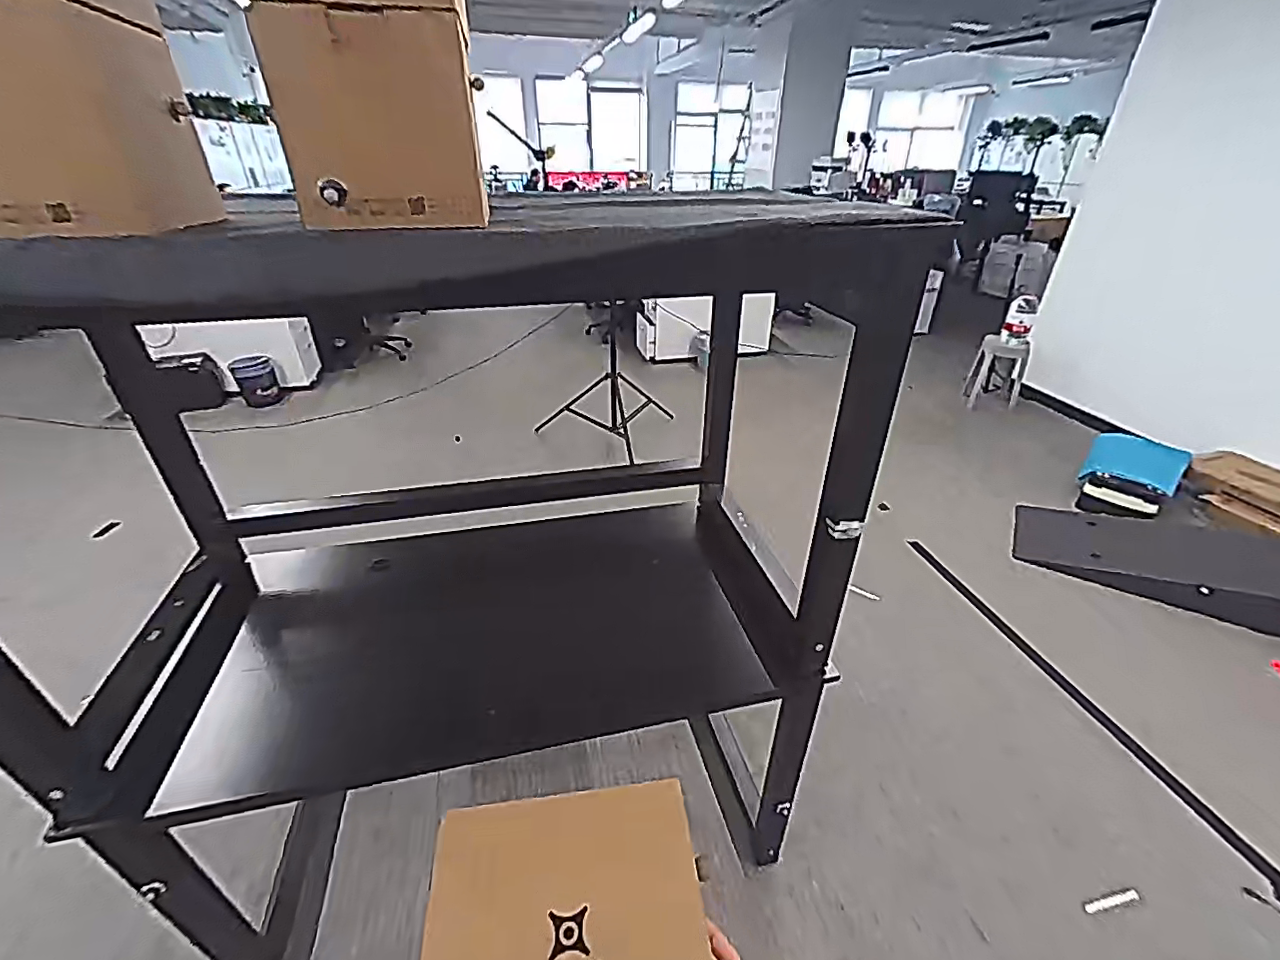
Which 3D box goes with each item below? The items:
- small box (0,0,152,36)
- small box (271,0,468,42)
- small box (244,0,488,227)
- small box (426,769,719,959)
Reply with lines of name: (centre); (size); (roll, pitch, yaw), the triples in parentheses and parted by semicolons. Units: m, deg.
small box: (-0.527, -0.456, 0.405); (0.168, 0.176, 0.179); (-7, 30, -12)
small box: (-0.249, -0.495, 0.469); (0.168, 0.176, 0.179); (-7, 31, -10)
small box: (-0.250, -0.353, 0.547); (0.168, 0.176, 0.179); (-7, 30, -11)
small box: (-0.040, 0.327, 0.357); (0.168, 0.176, 0.179); (-5, 36, -6)
